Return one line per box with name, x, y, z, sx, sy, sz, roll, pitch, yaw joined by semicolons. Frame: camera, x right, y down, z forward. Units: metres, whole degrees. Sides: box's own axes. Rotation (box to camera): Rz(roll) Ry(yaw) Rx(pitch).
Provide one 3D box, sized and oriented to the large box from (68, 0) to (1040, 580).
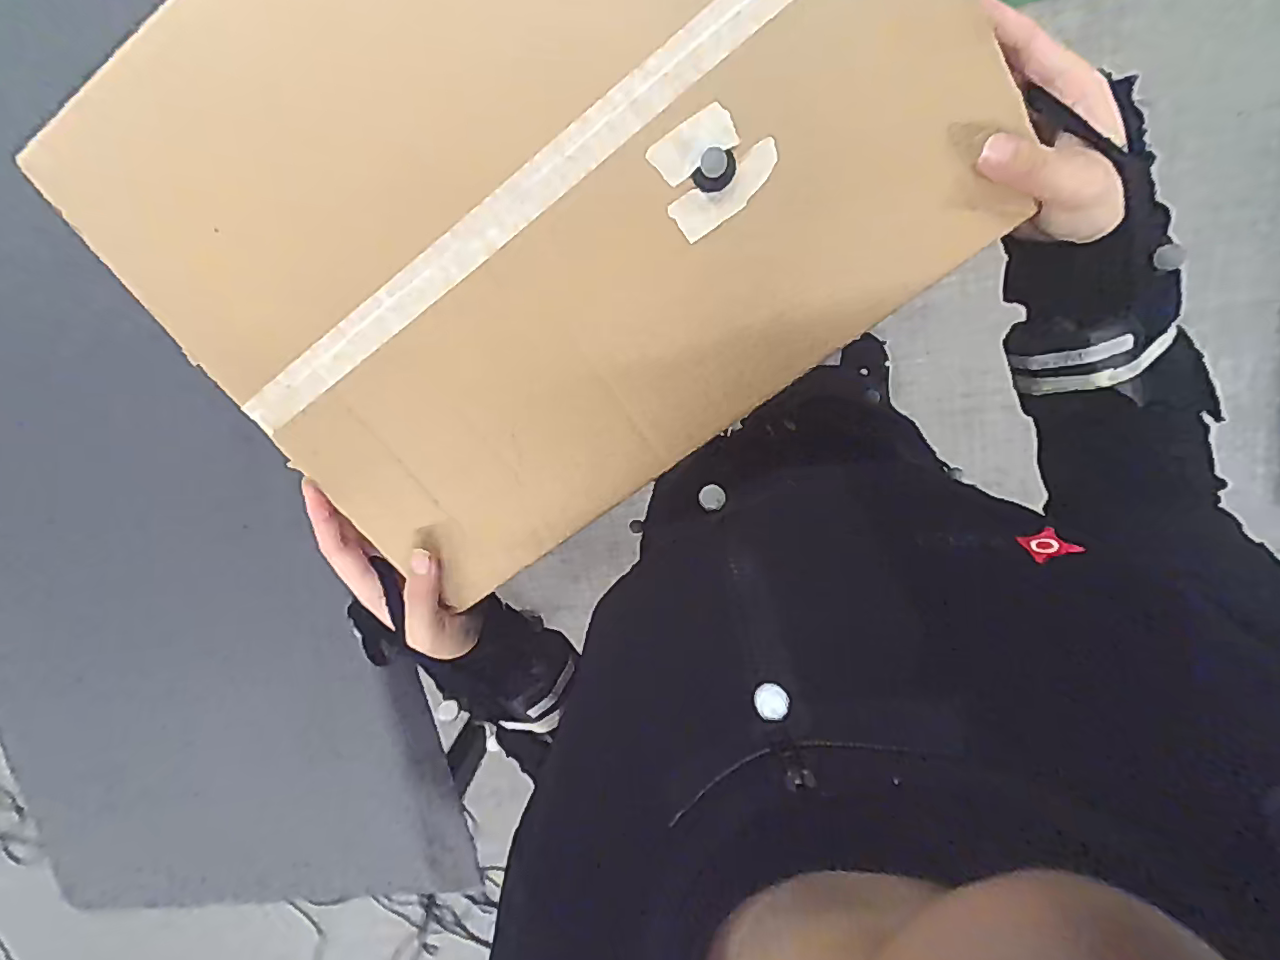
large box;-0.042;-0.204;0.416;0.408;0.320;0.320;-35;105;8
